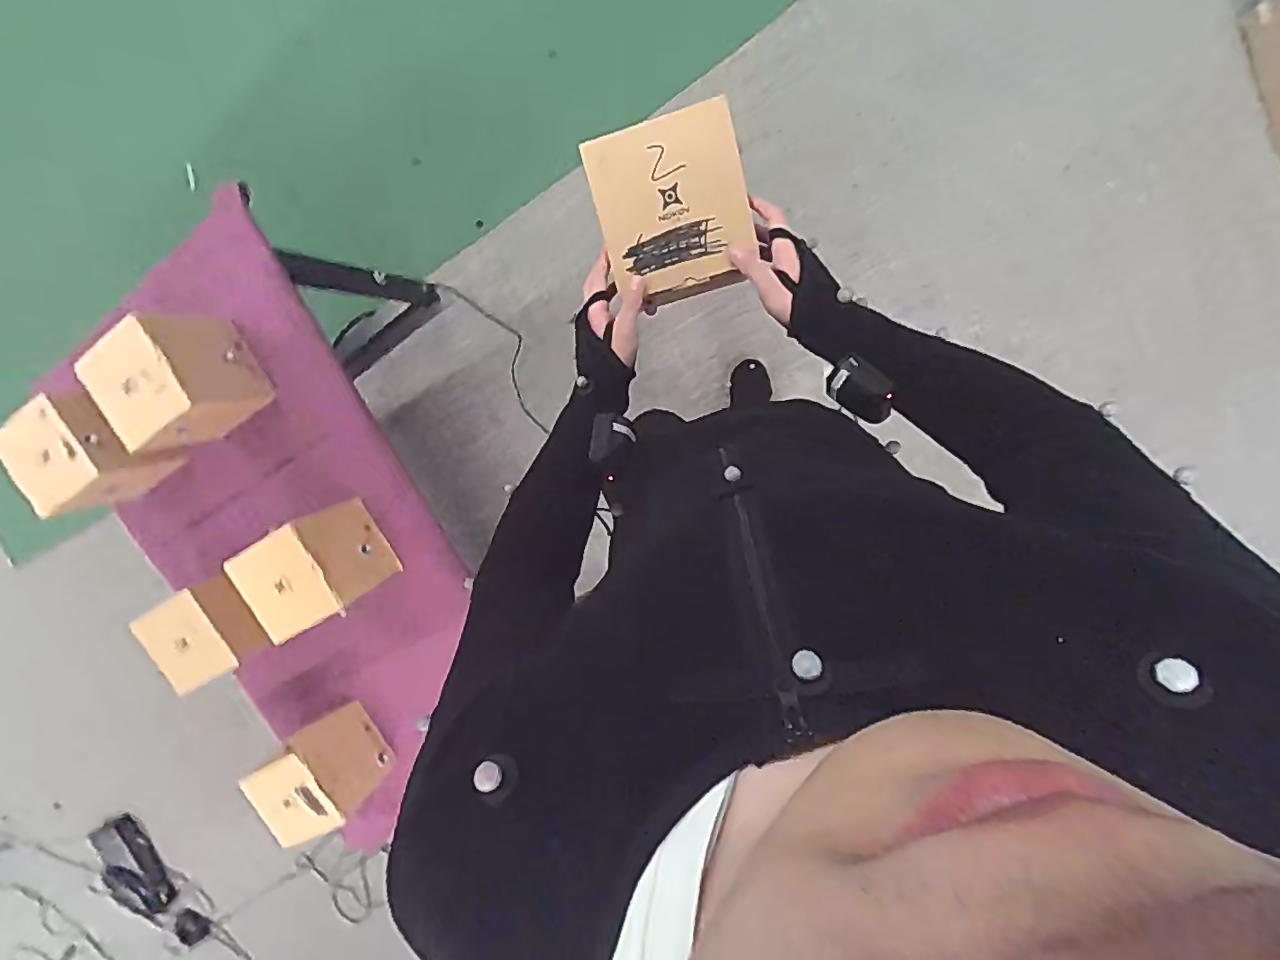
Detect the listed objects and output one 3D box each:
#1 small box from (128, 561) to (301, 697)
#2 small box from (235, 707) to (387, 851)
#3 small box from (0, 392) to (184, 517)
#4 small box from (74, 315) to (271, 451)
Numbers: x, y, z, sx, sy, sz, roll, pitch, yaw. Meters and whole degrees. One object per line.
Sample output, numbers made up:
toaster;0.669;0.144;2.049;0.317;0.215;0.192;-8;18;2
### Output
small box;-0.825;0.285;1.065;0.179;0.176;0.168;-28;96;15
small box;-0.650;0.596;1.097;0.179;0.176;0.168;-29;95;16
small box;-1.037;-0.055;1.028;0.179;0.176;0.168;-29;96;15
small box;-0.813;-0.171;0.956;0.179;0.176;0.168;-27;97;17
